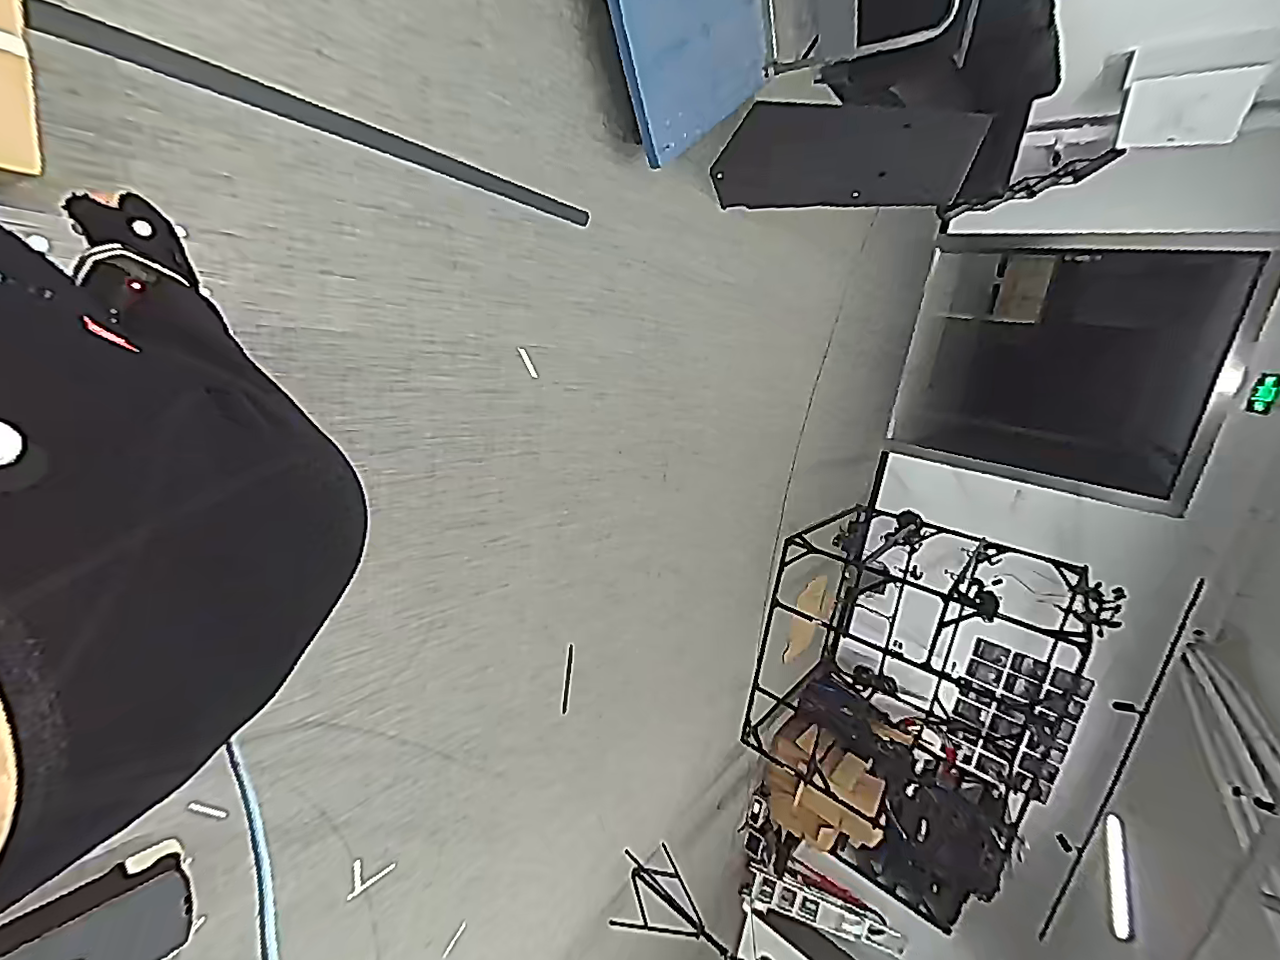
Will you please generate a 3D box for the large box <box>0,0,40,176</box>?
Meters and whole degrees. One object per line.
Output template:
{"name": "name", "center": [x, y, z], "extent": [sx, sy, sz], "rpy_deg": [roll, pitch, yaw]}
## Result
{"name": "large box", "center": [-1.068, -0.601, 0.653], "extent": [0.408, 0.320, 0.320], "rpy_deg": [-11, 115, -53]}
